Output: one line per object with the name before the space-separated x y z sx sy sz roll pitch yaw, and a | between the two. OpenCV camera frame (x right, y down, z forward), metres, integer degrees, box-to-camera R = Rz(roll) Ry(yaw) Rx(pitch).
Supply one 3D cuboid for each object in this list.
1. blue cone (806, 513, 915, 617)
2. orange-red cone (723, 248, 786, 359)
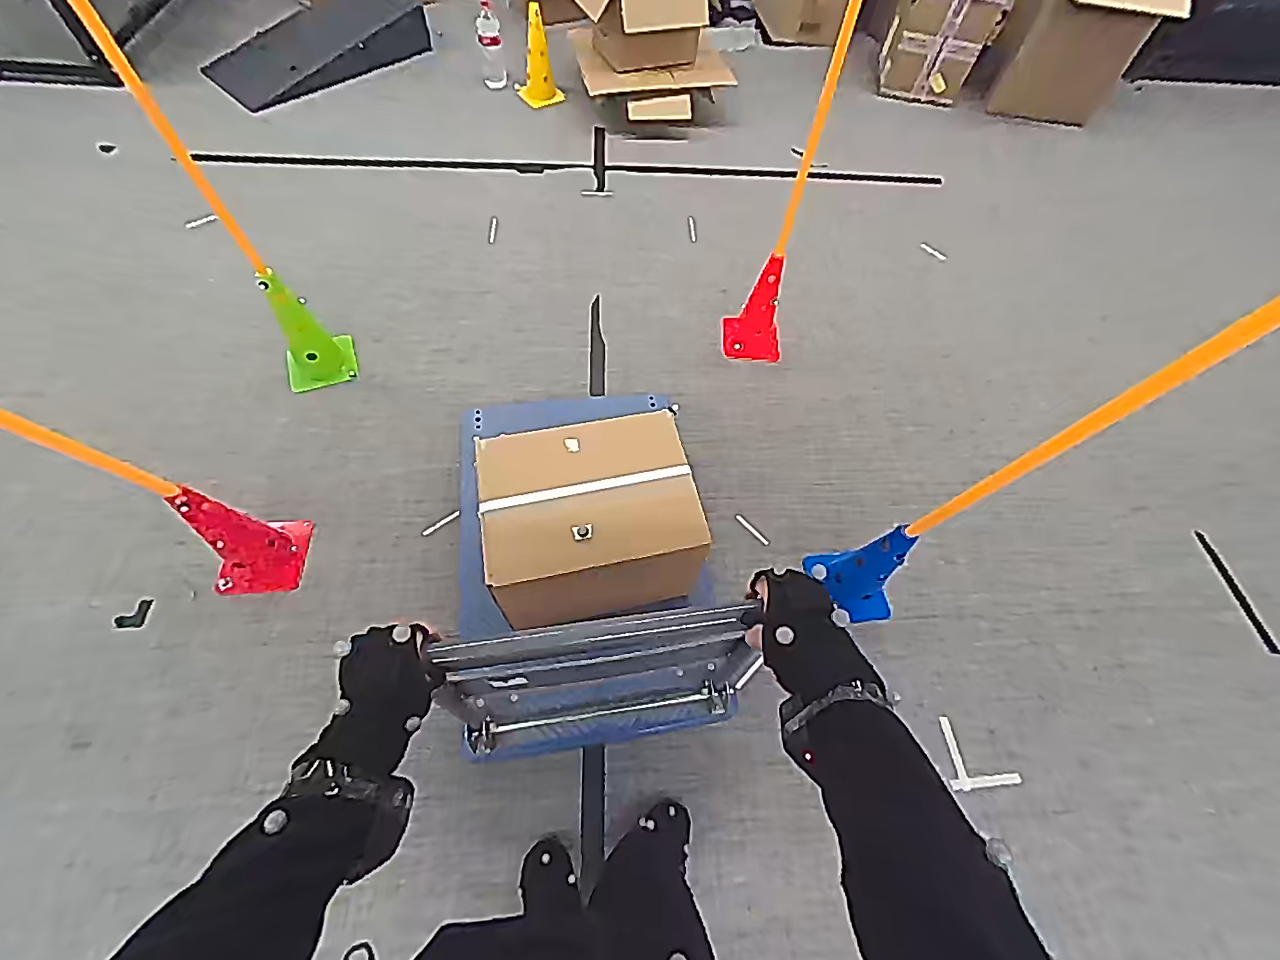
blue cone | 0.575 0.193 1.336 0.193 0.380 0.192 -4 59 -7
orange-red cone | 0.407 -0.594 1.763 0.199 0.360 0.198 6 60 -2
